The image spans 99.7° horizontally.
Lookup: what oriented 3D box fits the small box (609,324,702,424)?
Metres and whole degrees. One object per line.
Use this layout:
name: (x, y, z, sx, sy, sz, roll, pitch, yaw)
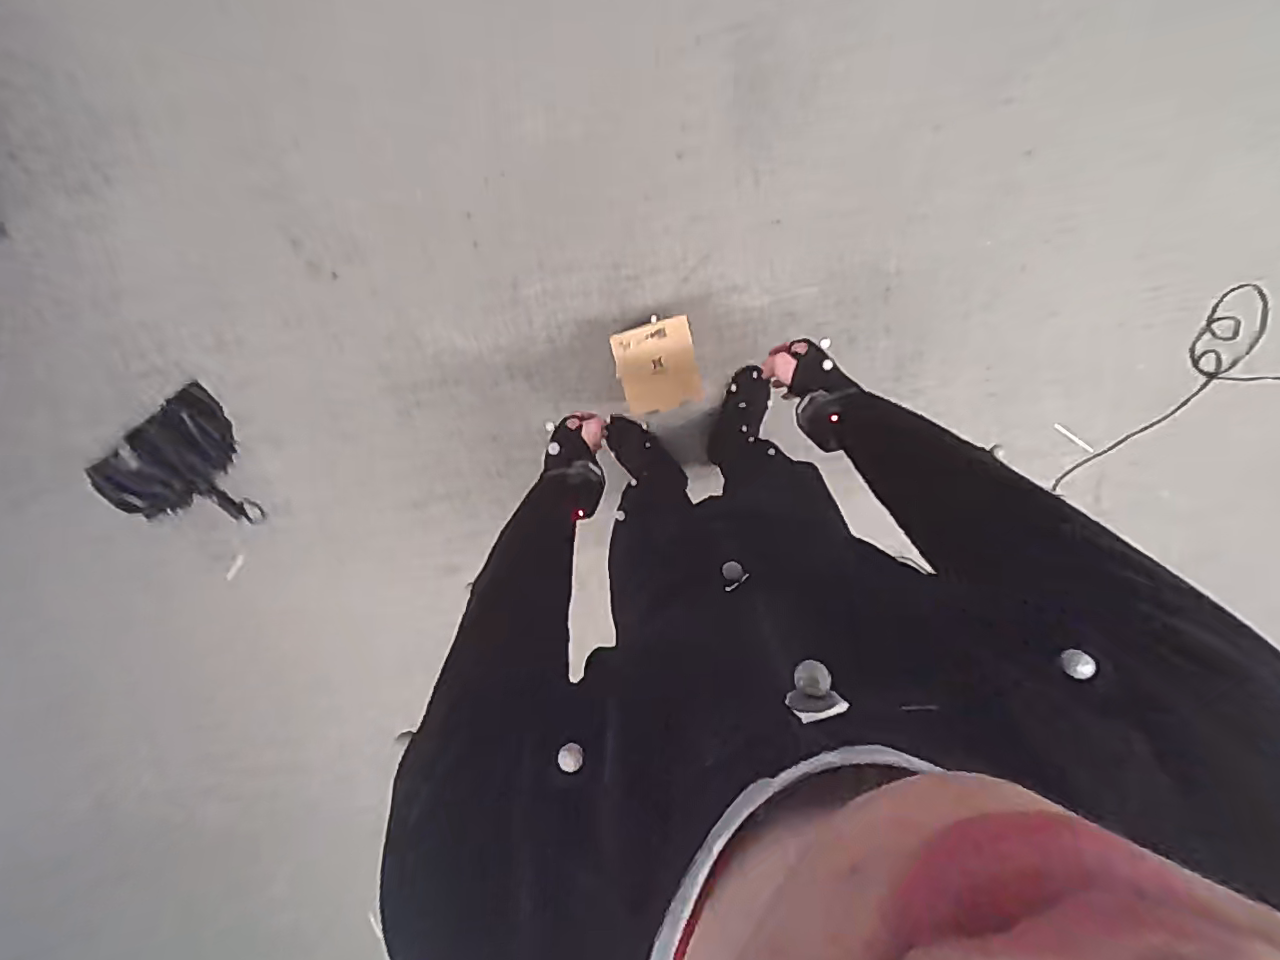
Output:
small box: (0.037, -0.244, 1.214, 0.168, 0.176, 0.179, -16, 105, 5)
